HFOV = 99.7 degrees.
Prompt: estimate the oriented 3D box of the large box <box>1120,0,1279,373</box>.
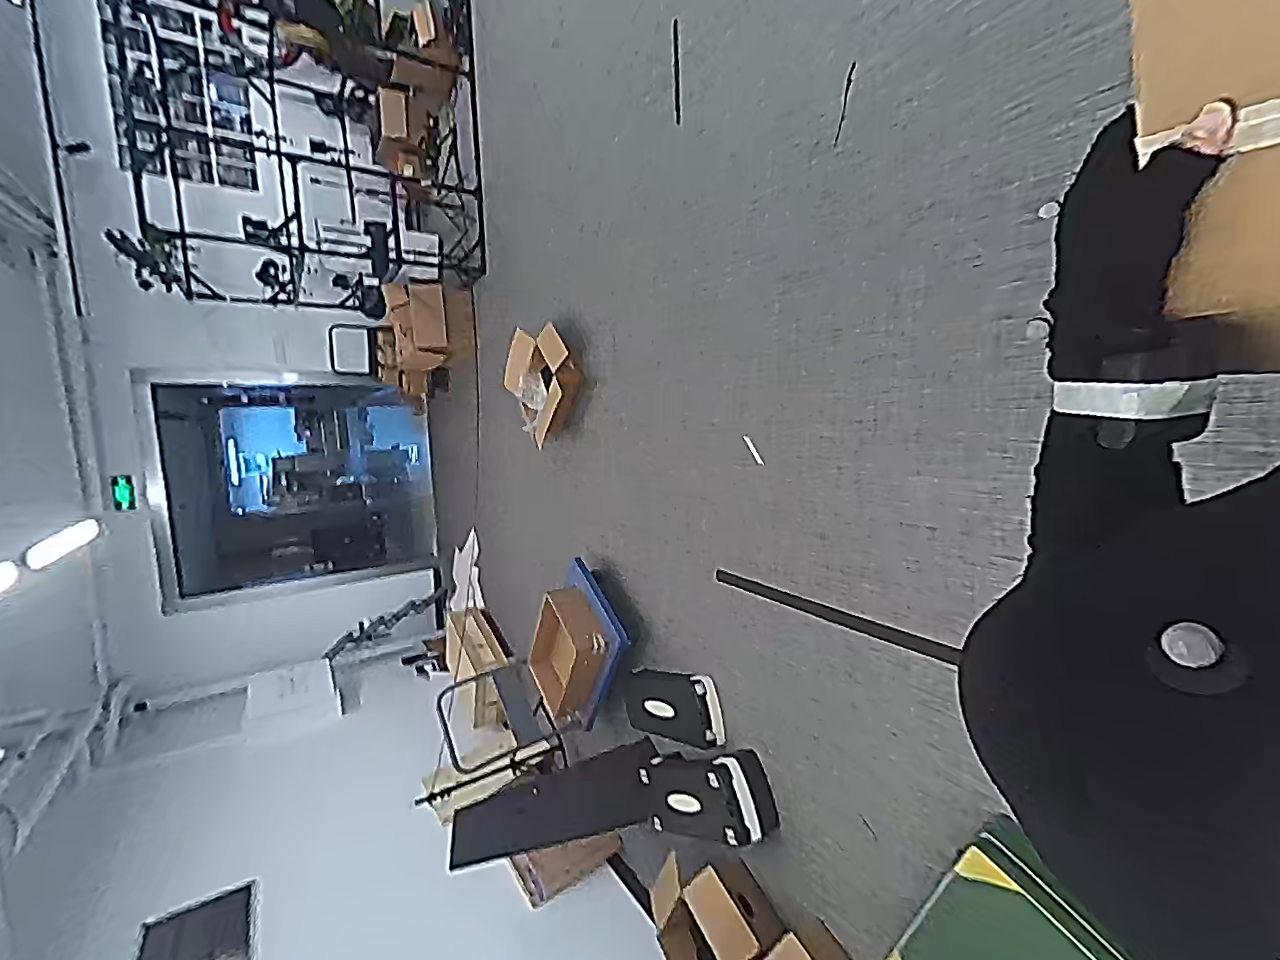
[{"bbox_3d":[0.507,-0.268,0.215,0.408,0.320,0.320,12,142,54],"label":"large box"}]
